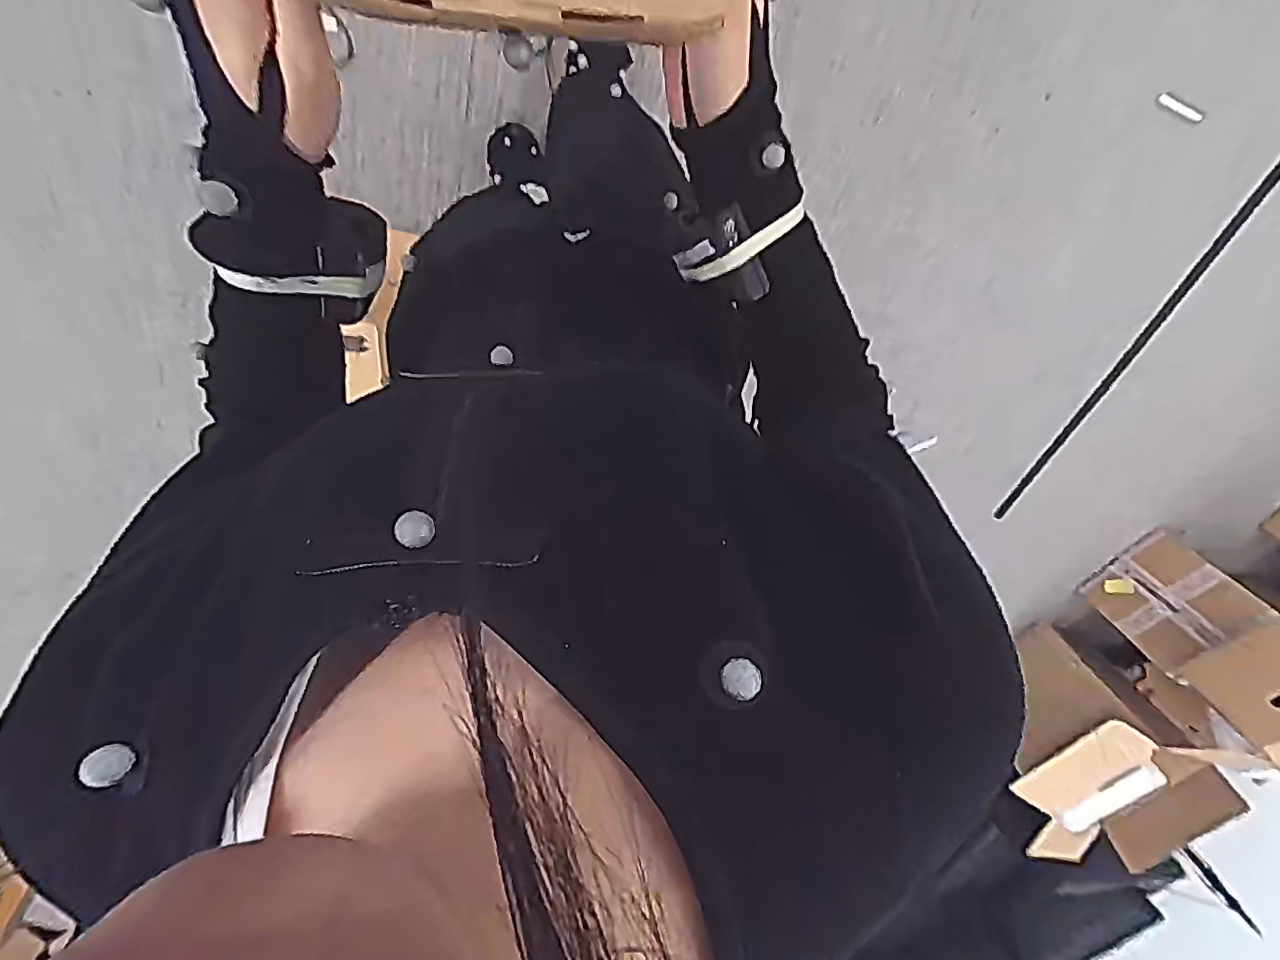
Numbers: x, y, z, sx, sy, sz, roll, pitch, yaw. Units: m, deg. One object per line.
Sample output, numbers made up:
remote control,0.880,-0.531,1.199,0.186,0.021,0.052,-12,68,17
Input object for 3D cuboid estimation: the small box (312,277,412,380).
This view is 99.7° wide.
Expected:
small box,-0.624,-0.349,1.234,0.168,0.176,0.179,4,123,-13

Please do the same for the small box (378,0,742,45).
small box,-0.047,-0.281,0.195,0.168,0.176,0.179,0,127,-8
